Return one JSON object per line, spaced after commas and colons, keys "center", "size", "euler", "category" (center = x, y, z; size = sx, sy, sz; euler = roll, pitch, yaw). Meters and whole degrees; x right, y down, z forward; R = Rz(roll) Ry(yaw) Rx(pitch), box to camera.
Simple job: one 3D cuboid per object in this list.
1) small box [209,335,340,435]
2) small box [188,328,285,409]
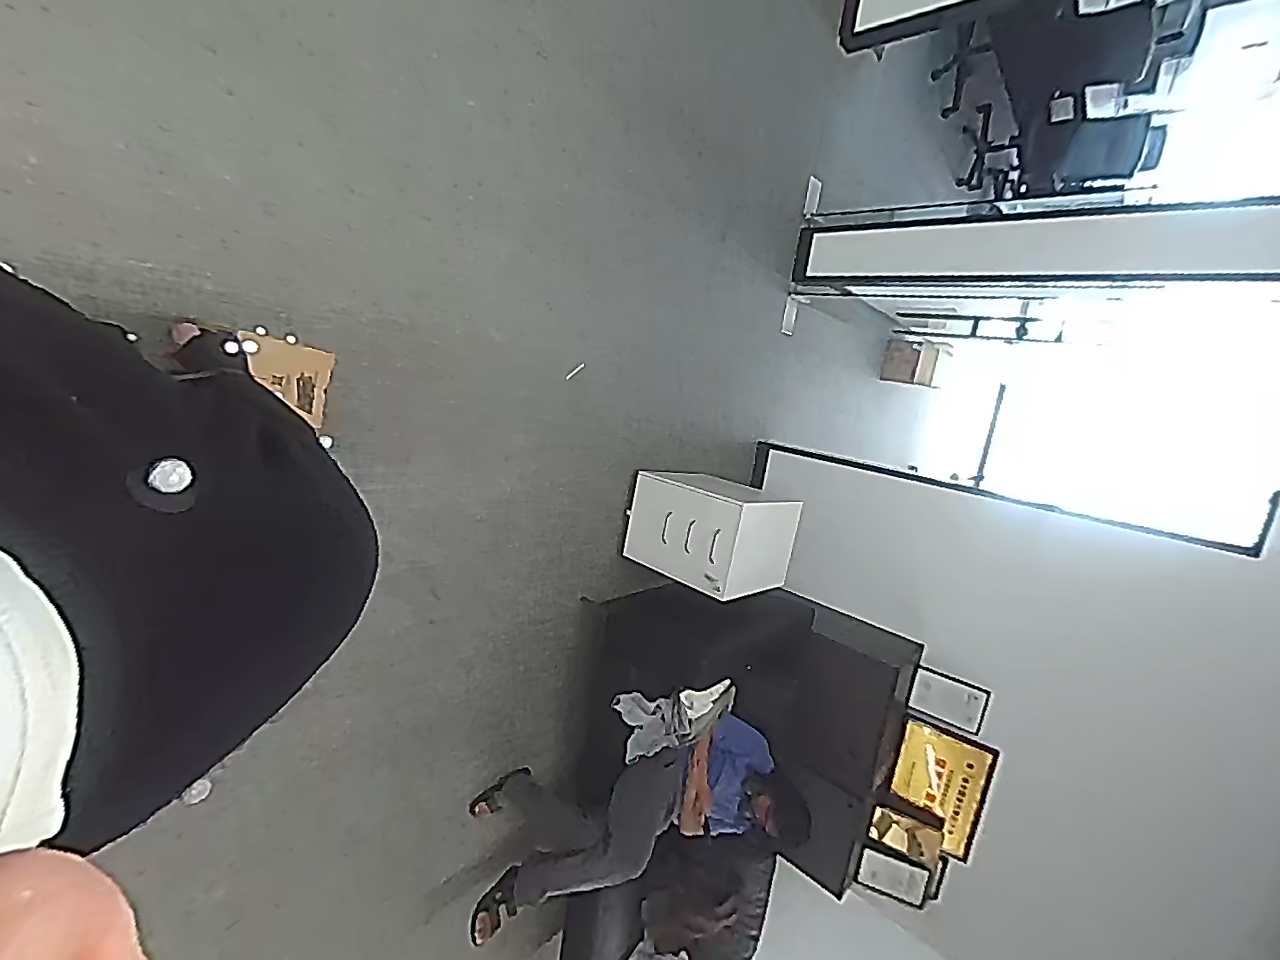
{"center": [-0.770, -0.202, 1.139], "size": [0.179, 0.176, 0.168], "euler": [9, 96, -49], "category": "small box"}
{"center": [-0.897, -0.243, 1.238], "size": [0.179, 0.176, 0.168], "euler": [7, 99, -50], "category": "small box"}
